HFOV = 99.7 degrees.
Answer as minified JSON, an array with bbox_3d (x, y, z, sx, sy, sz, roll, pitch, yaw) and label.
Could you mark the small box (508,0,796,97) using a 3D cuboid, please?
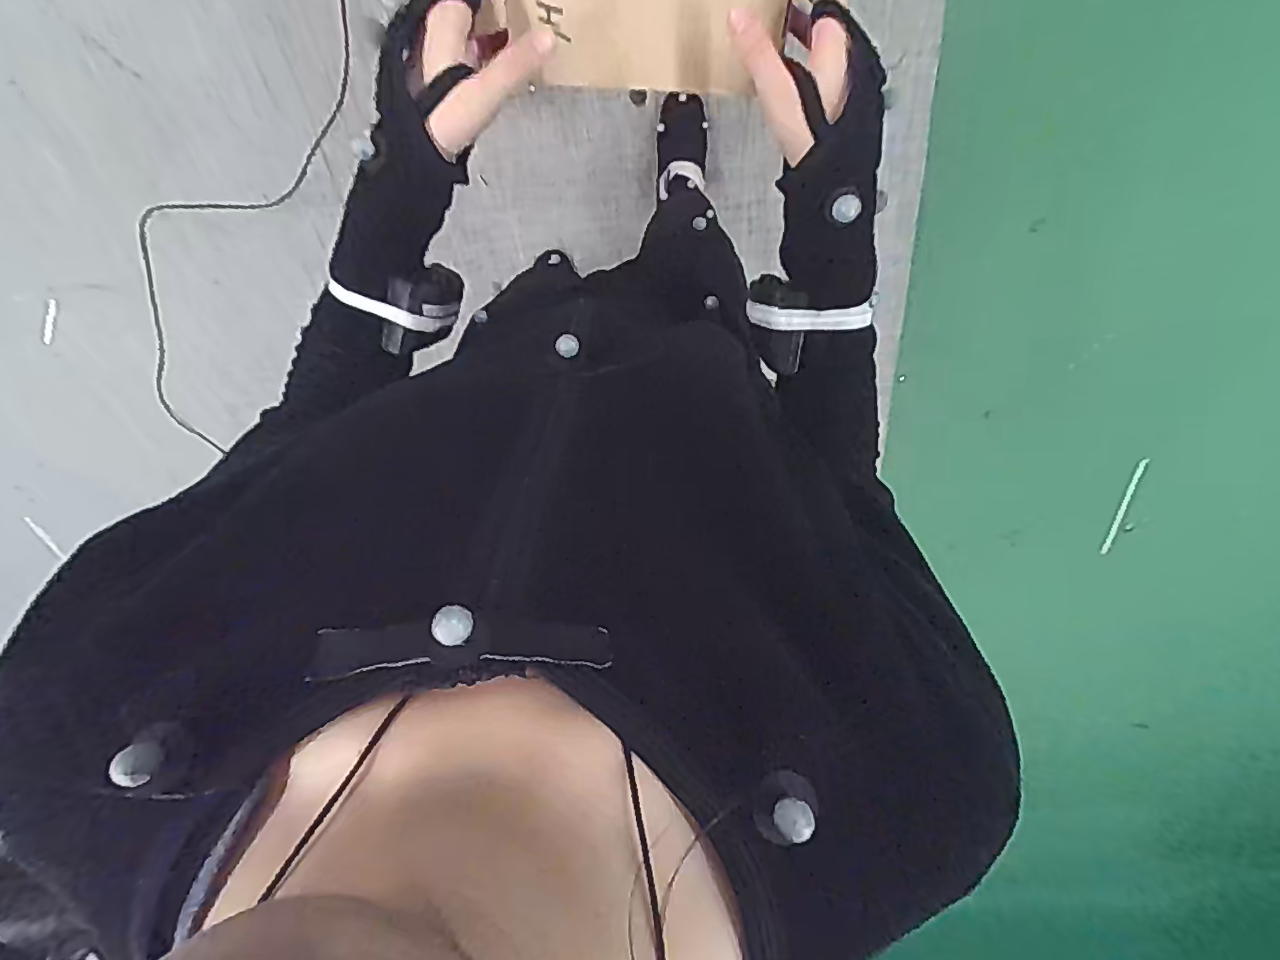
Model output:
[{"bbox_3d":[0.007,-0.370,0.358,0.179,0.176,0.168,2,131,-3],"label":"small box"}]
